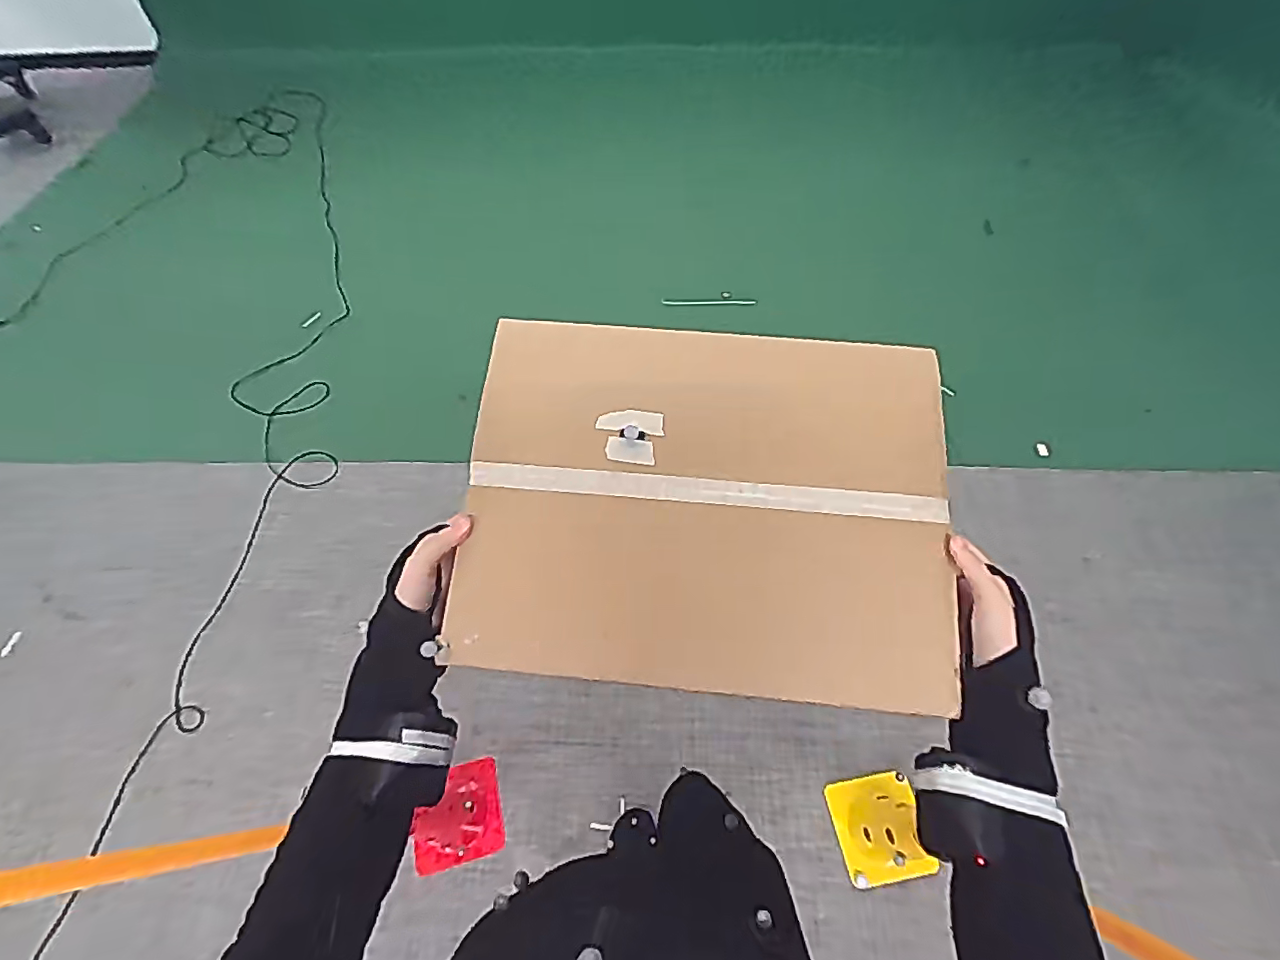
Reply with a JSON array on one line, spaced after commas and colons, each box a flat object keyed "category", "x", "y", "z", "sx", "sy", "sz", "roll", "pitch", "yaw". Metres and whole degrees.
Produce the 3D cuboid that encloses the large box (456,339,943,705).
[{"category": "large box", "x": 0.063, "y": 0.060, "z": 0.622, "sx": 0.408, "sy": 0.320, "sz": 0.320, "roll": 4, "pitch": 73, "yaw": 4}]
